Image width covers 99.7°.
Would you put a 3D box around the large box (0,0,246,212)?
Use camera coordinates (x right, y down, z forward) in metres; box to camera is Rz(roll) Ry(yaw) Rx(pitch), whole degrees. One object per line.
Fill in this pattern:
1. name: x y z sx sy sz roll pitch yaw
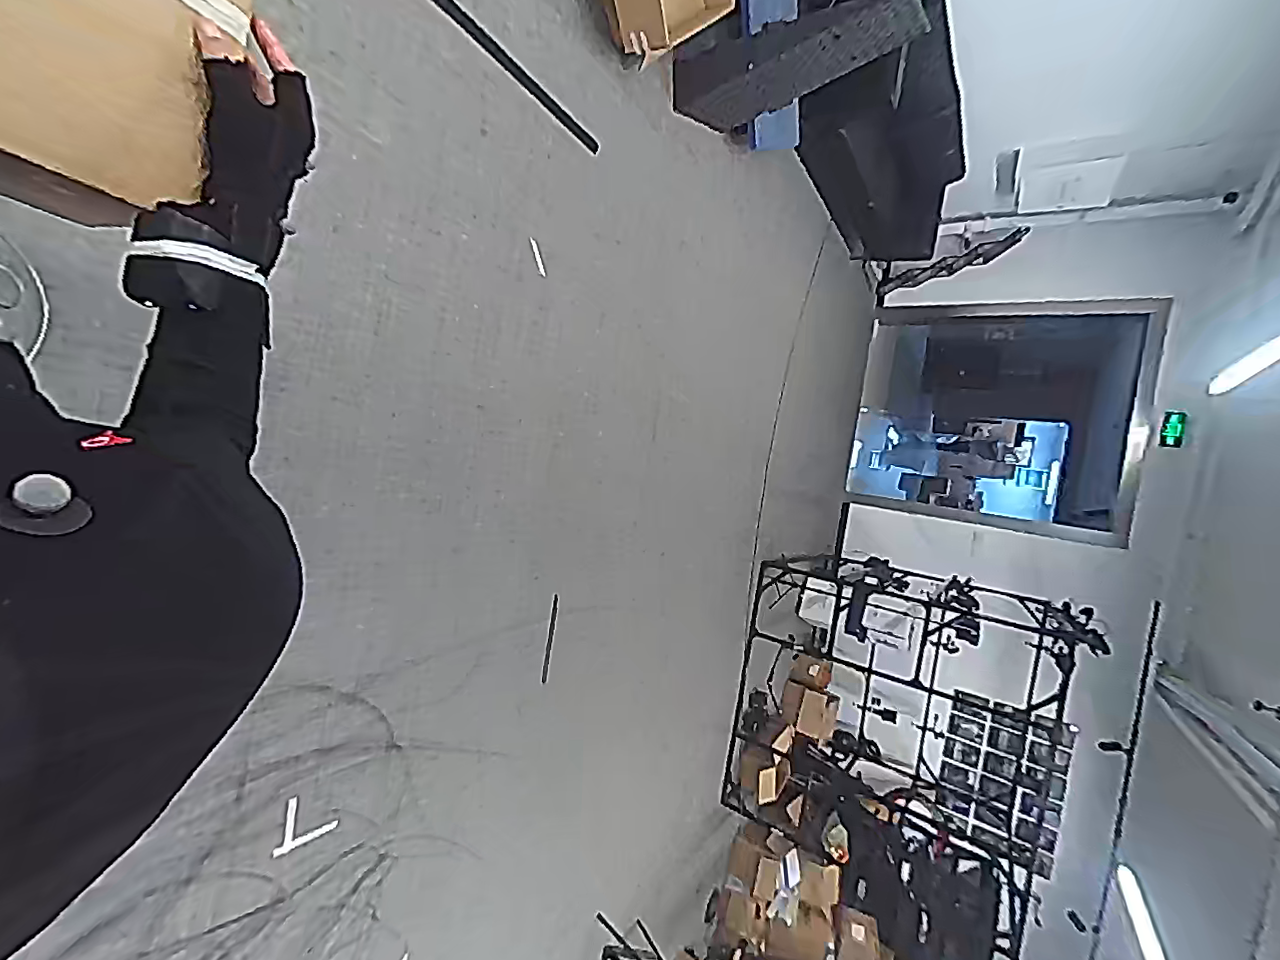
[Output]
1. large box: -0.542 -0.417 0.338 0.408 0.320 0.320 13 95 -58
